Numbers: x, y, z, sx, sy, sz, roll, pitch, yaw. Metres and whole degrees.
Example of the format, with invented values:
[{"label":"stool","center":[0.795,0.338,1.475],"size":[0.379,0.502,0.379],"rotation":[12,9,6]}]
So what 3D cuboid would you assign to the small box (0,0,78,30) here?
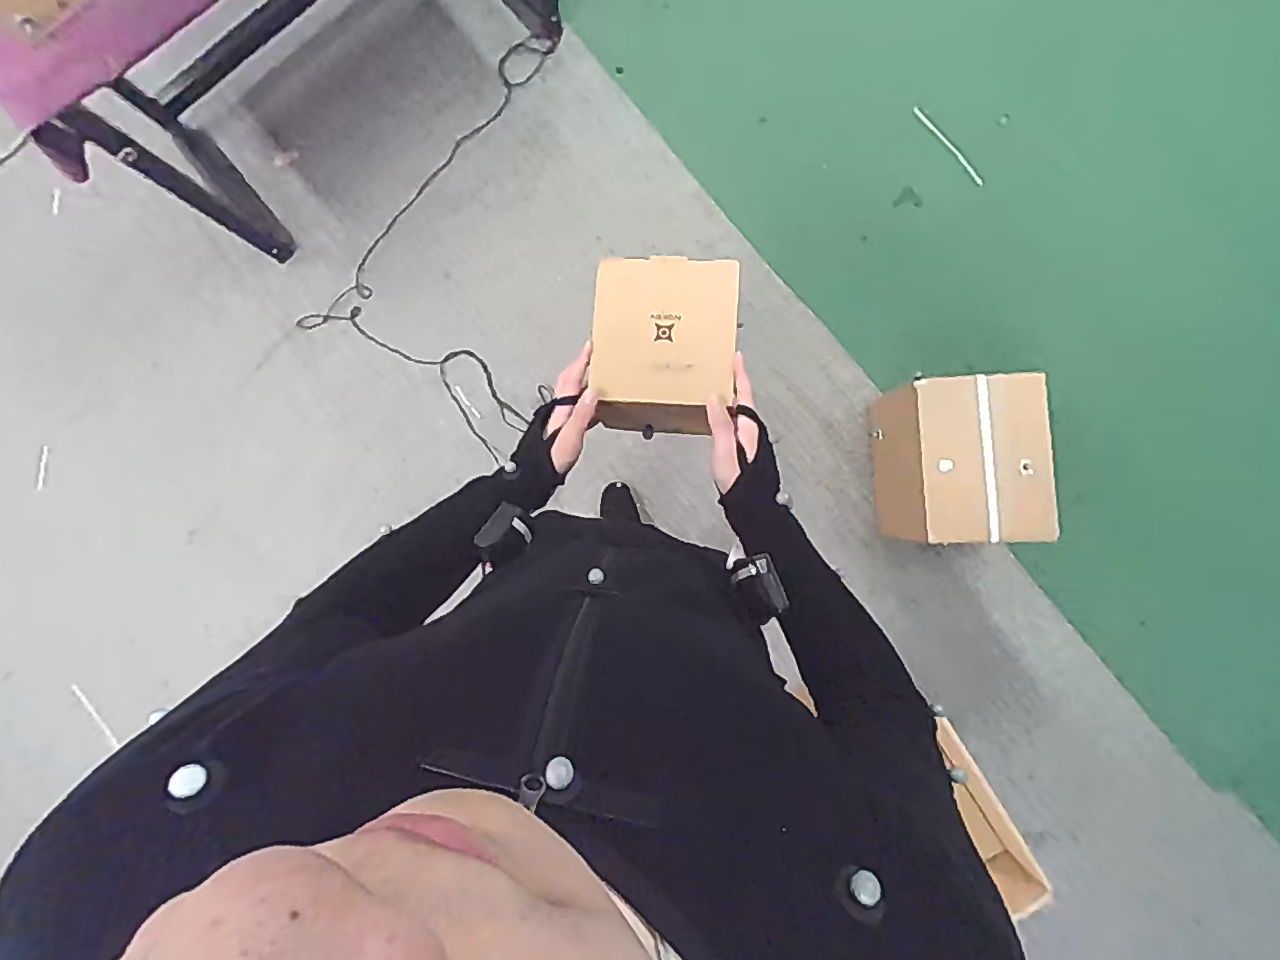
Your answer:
[{"label":"small box","center":[-1.125,-0.934,0.928],"size":[0.168,0.176,0.179],"rotation":[-39,85,0]}]
